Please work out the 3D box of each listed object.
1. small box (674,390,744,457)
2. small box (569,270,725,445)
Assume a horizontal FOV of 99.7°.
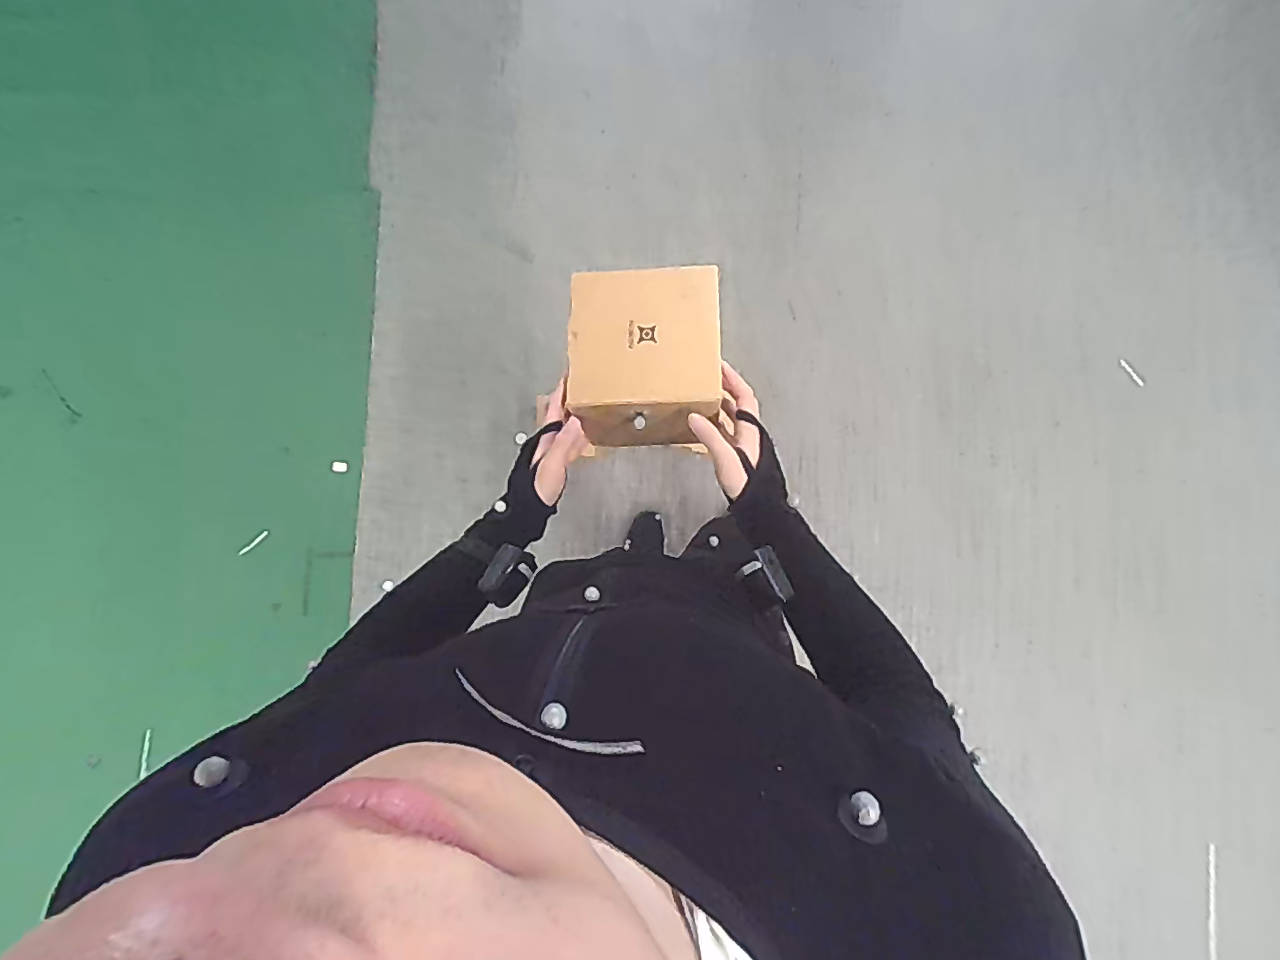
[{"bbox_3d":[0.196,-0.164,1.558,0.168,0.176,0.179,10,90,4],"label":"small box"},{"bbox_3d":[0.014,-0.146,0.693,0.179,0.176,0.168,-2,77,6],"label":"small box"}]
